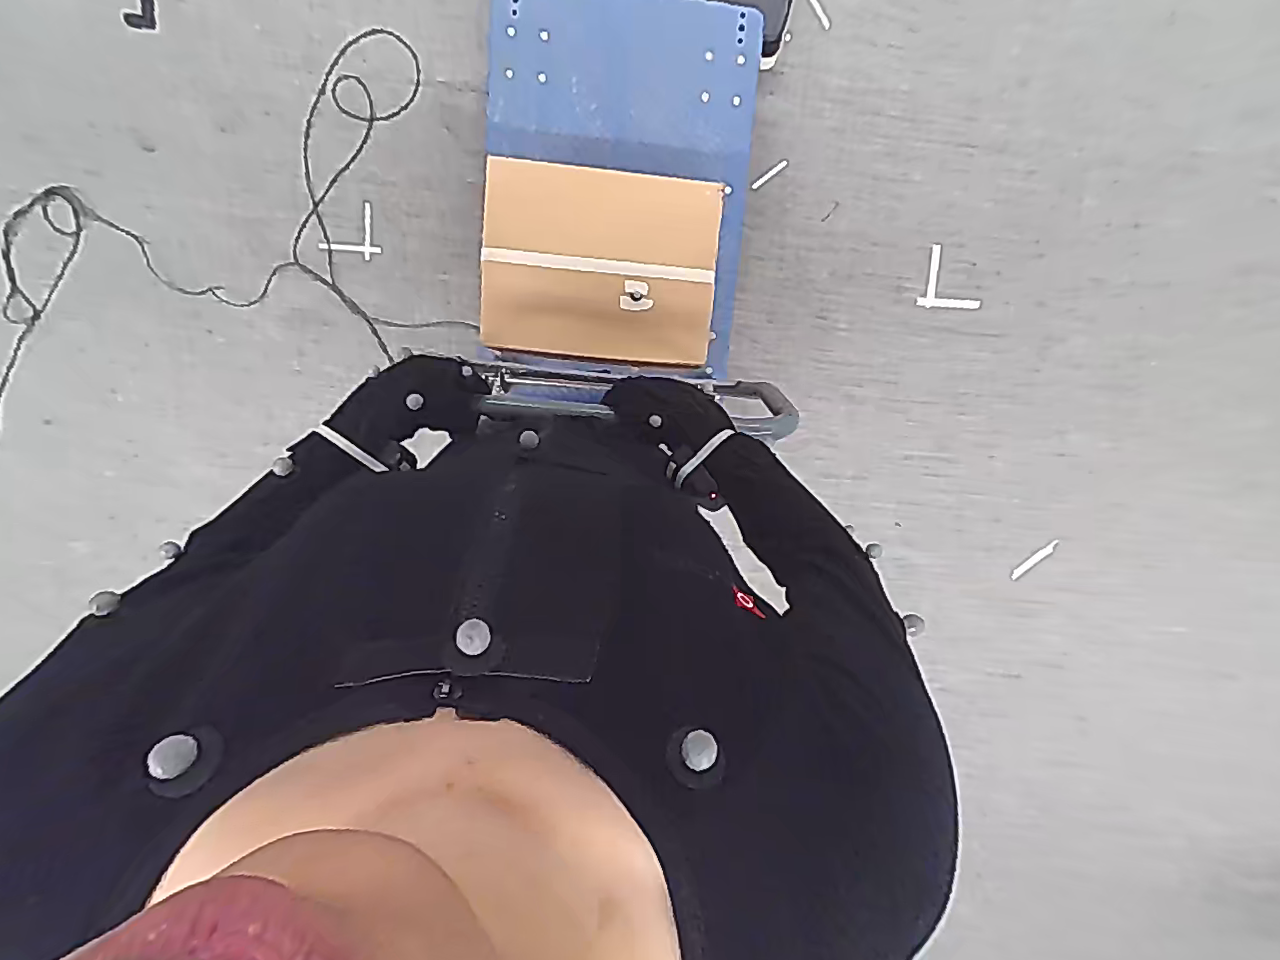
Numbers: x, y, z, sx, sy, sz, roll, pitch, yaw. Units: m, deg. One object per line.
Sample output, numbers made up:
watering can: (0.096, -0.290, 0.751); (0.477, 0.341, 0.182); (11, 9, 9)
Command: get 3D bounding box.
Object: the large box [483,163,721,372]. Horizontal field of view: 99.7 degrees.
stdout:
large box: (-0.079, -0.391, 1.084); (0.408, 0.320, 0.320); (4, 100, -5)
